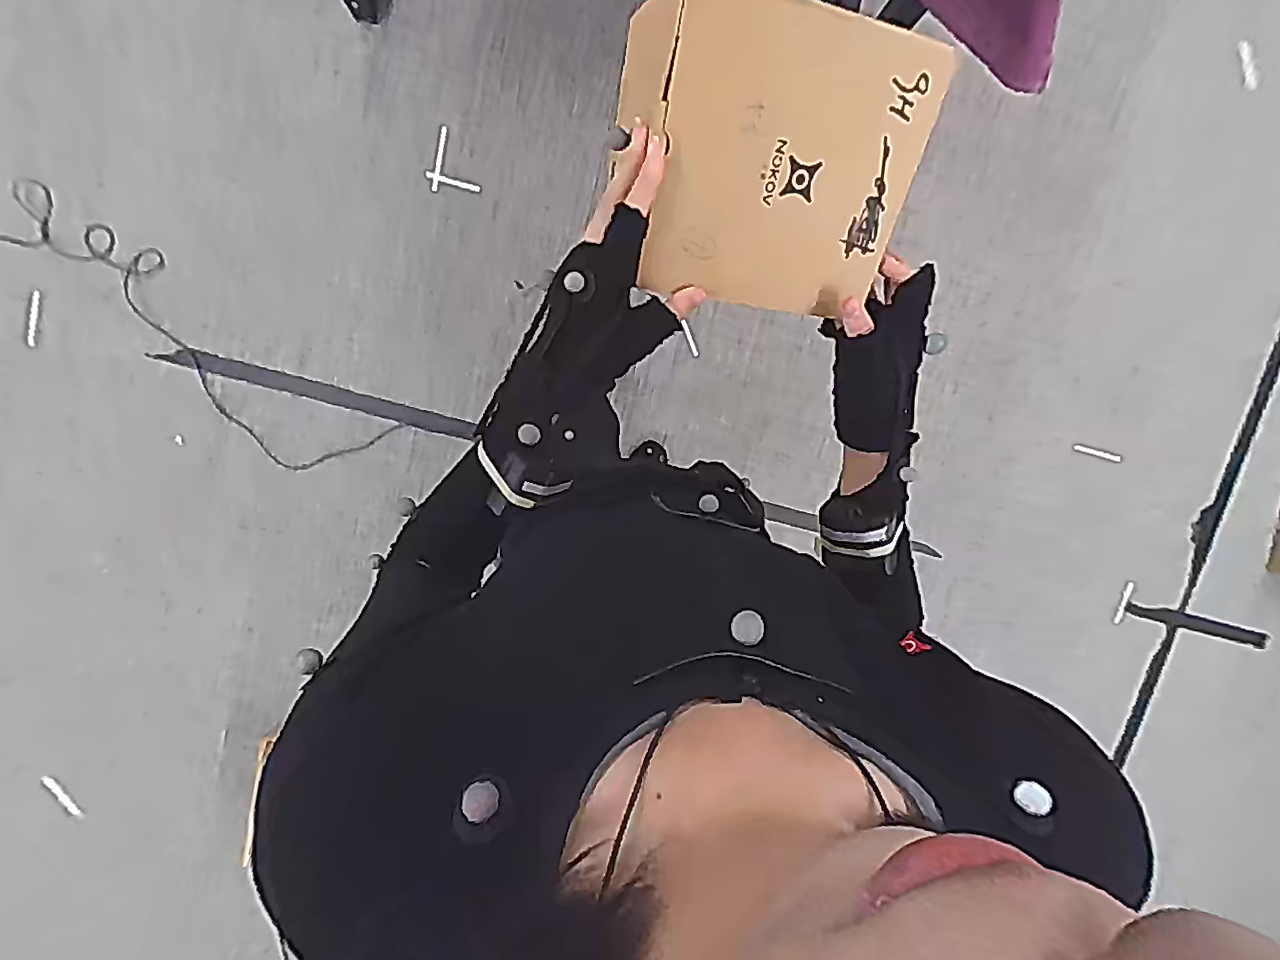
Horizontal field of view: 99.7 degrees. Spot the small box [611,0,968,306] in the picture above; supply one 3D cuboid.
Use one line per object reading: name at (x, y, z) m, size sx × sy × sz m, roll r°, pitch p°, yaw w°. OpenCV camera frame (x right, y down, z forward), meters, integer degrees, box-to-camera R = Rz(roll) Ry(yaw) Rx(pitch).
small box at (0.081, -0.243, 0.401) m, size 0.179 × 0.176 × 0.168 m, roll 5°, pitch 120°, yaw -14°
